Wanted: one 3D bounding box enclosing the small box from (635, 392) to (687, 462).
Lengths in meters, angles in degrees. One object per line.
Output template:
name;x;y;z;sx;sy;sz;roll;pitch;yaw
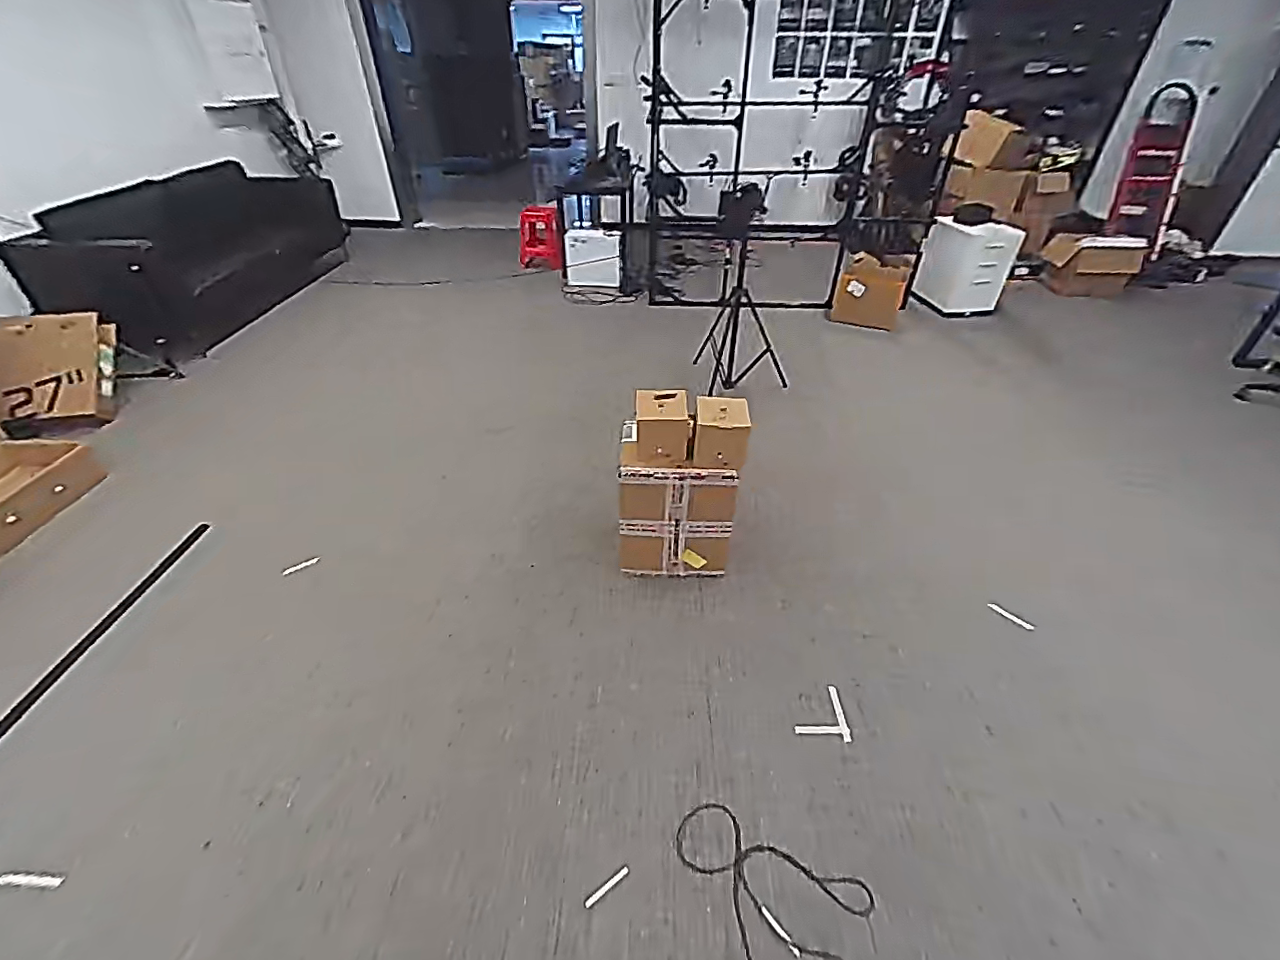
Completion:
small box;0.068;-0.177;1.807;0.168;0.176;0.179;-1;41;1

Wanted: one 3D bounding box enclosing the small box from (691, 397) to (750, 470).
small box;0.259;-0.153;1.779;0.168;0.176;0.179;3;40;1
